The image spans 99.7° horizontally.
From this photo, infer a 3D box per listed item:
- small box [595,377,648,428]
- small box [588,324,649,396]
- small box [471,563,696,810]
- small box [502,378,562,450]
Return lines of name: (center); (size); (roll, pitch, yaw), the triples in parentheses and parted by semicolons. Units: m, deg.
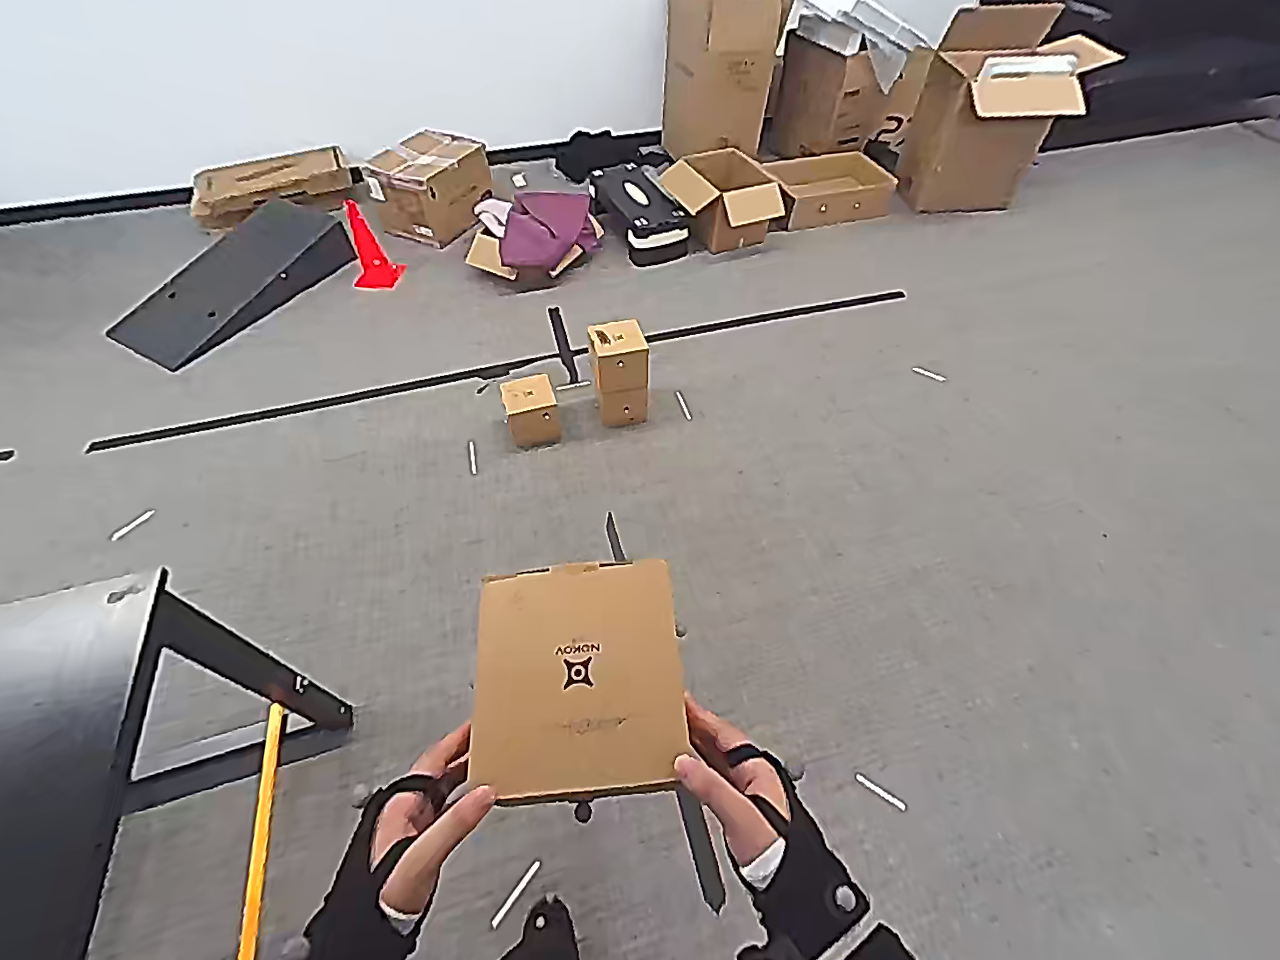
small box: (-0.067, -0.310, 1.997); (0.168, 0.176, 0.179); (-11, 54, -9)
small box: (-0.072, -0.411, 1.866); (0.179, 0.176, 0.168); (-12, 53, -10)
small box: (-0.045, 0.194, 0.499); (0.168, 0.176, 0.179); (-5, 58, -2)
small box: (-0.382, -0.235, 1.936); (0.179, 0.176, 0.168); (-15, 54, -11)
